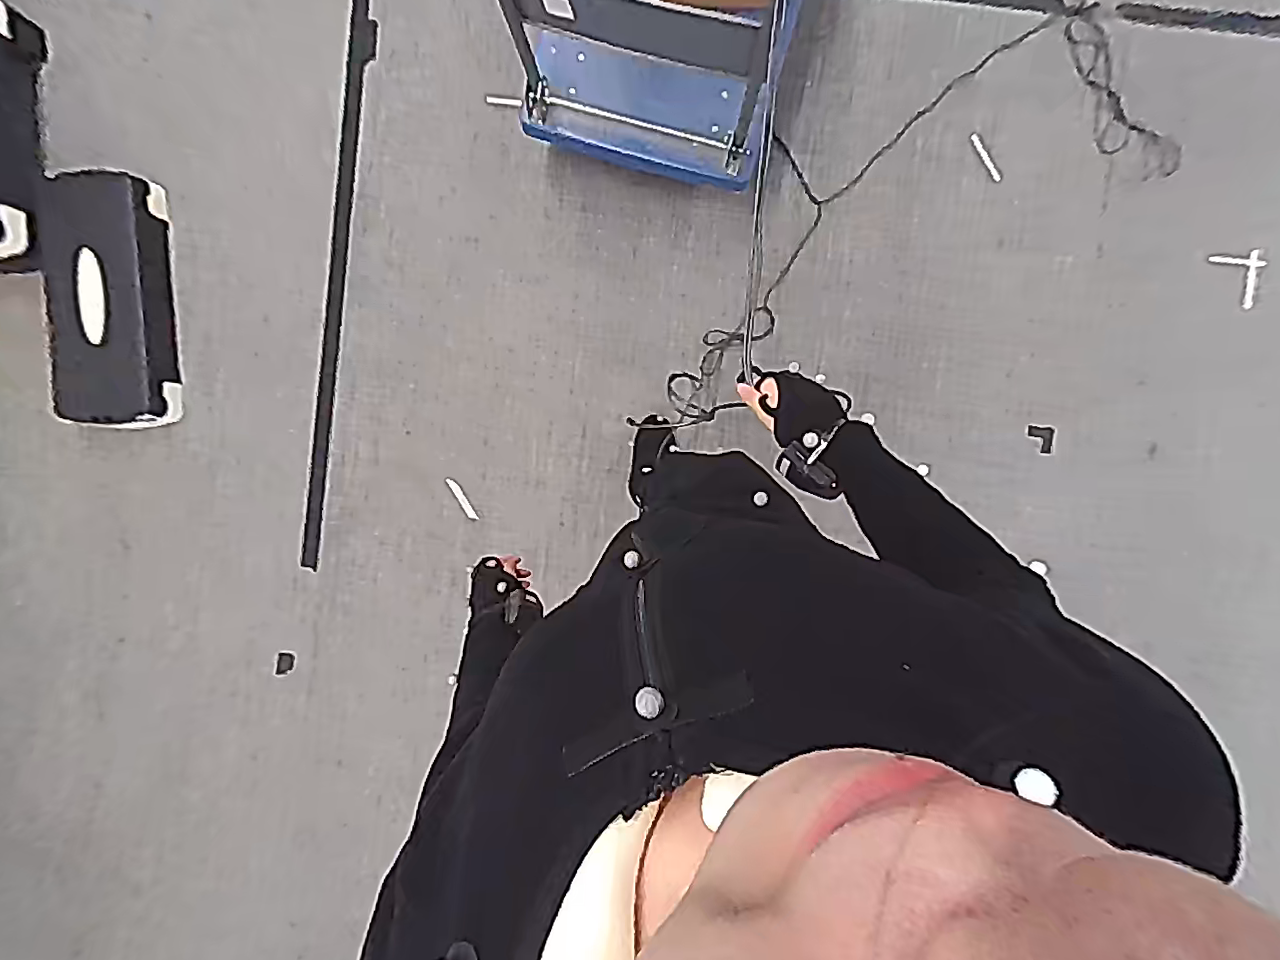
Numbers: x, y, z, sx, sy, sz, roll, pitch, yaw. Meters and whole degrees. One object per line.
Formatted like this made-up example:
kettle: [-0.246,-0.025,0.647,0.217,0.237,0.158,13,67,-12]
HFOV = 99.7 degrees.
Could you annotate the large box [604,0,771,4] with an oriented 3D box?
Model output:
large box: [0.108,-1.252,1.104,0.408,0.320,0.320,2,93,1]
